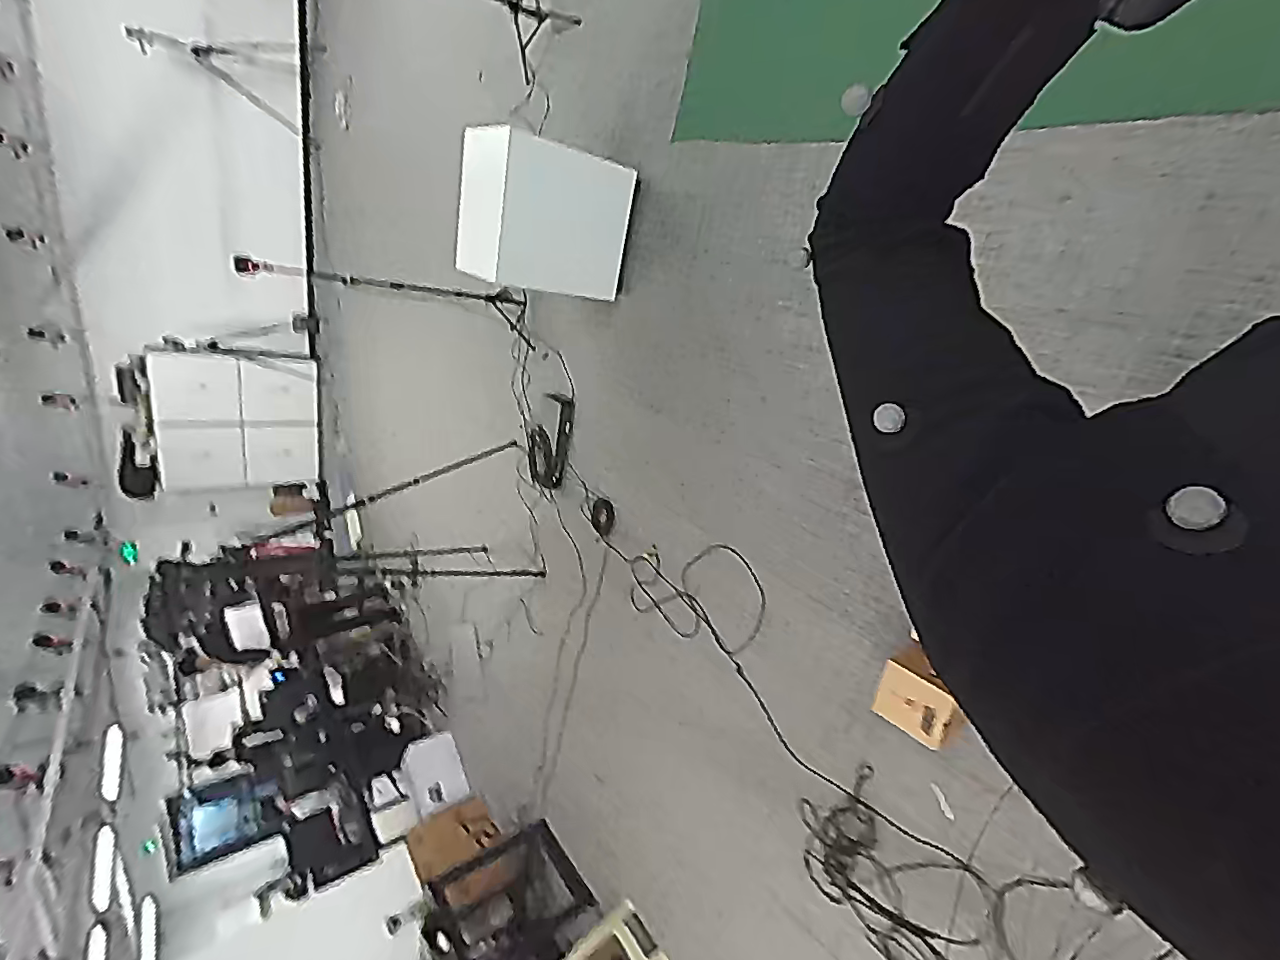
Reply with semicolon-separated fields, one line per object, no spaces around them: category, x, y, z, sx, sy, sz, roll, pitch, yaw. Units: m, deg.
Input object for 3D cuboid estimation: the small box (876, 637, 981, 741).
small box;0.768;0.543;1.433;0.179;0.176;0.168;27;116;46
